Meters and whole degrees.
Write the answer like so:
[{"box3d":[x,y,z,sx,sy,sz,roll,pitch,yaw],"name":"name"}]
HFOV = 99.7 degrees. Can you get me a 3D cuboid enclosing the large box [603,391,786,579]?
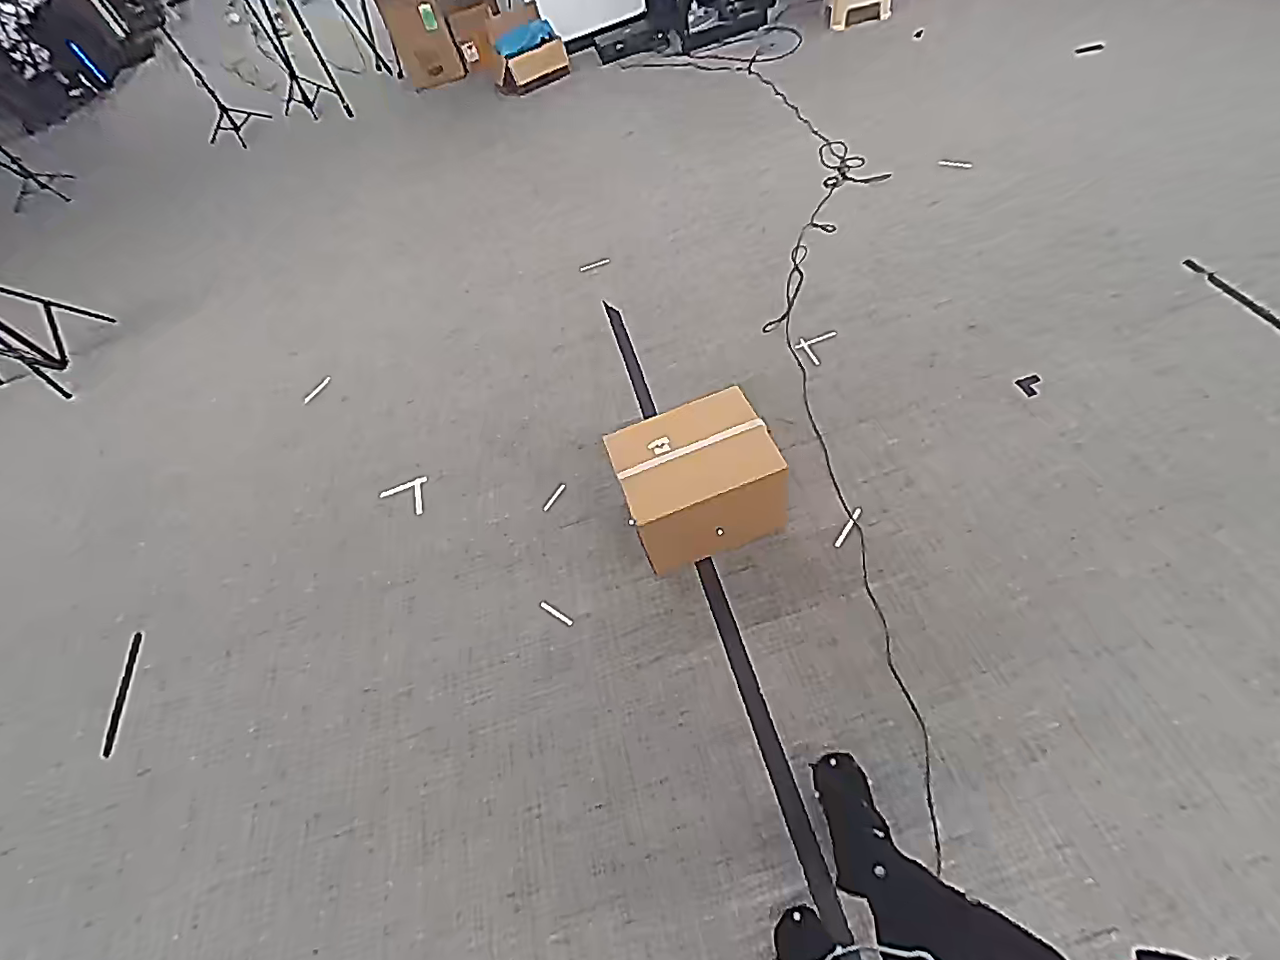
[{"box3d":[0.158,0.022,1.521,0.408,0.320,0.320,-22,53,0],"name":"large box"}]
